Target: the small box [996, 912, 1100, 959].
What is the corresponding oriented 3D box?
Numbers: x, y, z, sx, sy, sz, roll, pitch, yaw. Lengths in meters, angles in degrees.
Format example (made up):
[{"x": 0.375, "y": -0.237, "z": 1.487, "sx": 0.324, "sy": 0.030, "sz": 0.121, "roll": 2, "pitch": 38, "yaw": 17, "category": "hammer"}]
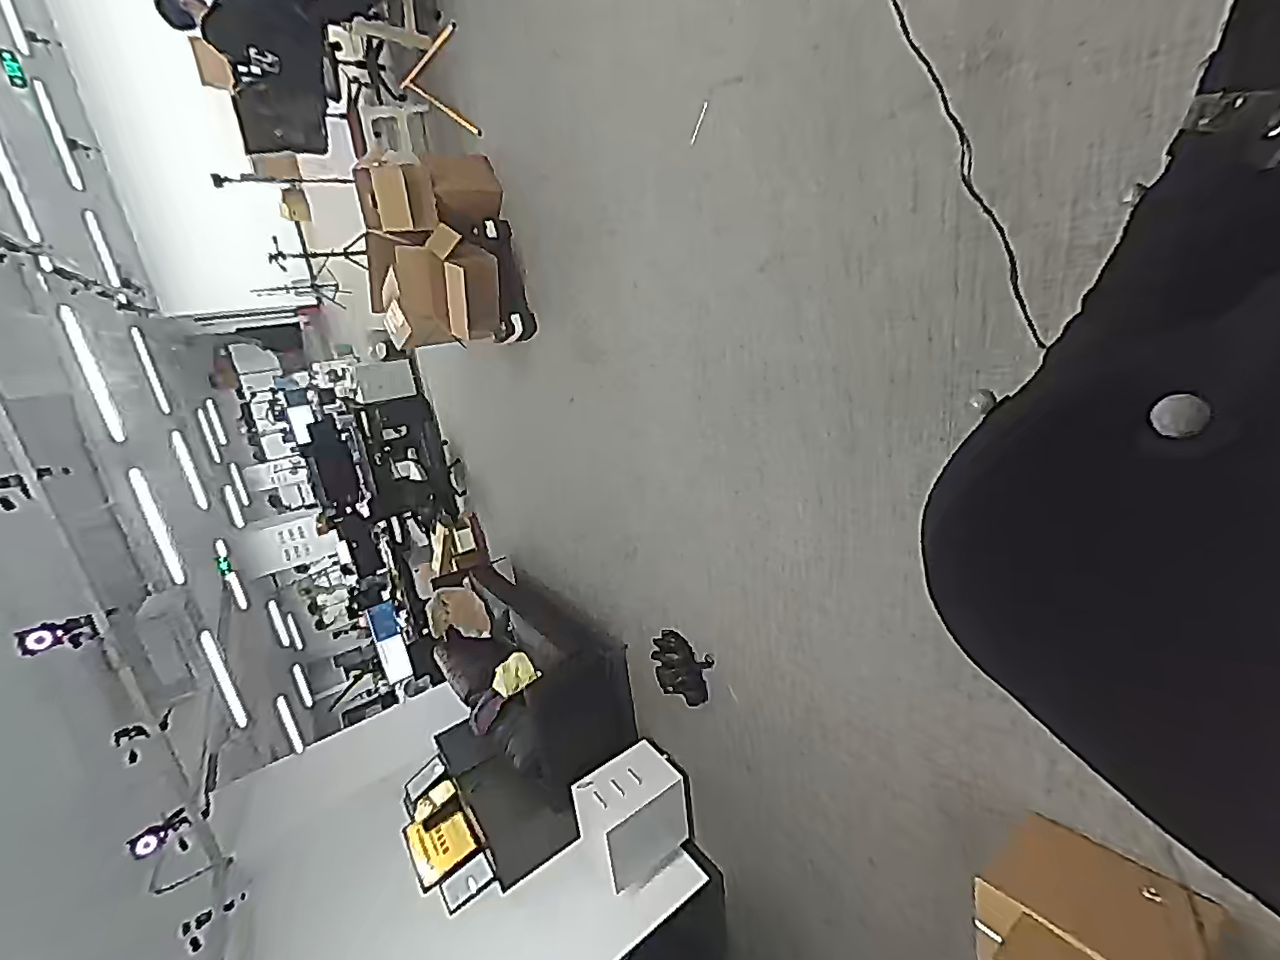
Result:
[{"x": 0.943, "y": 1.156, "z": 1.234, "sx": 0.179, "sy": 0.176, "sz": 0.168, "roll": 13, "pitch": 115, "yaw": 55, "category": "small box"}]
